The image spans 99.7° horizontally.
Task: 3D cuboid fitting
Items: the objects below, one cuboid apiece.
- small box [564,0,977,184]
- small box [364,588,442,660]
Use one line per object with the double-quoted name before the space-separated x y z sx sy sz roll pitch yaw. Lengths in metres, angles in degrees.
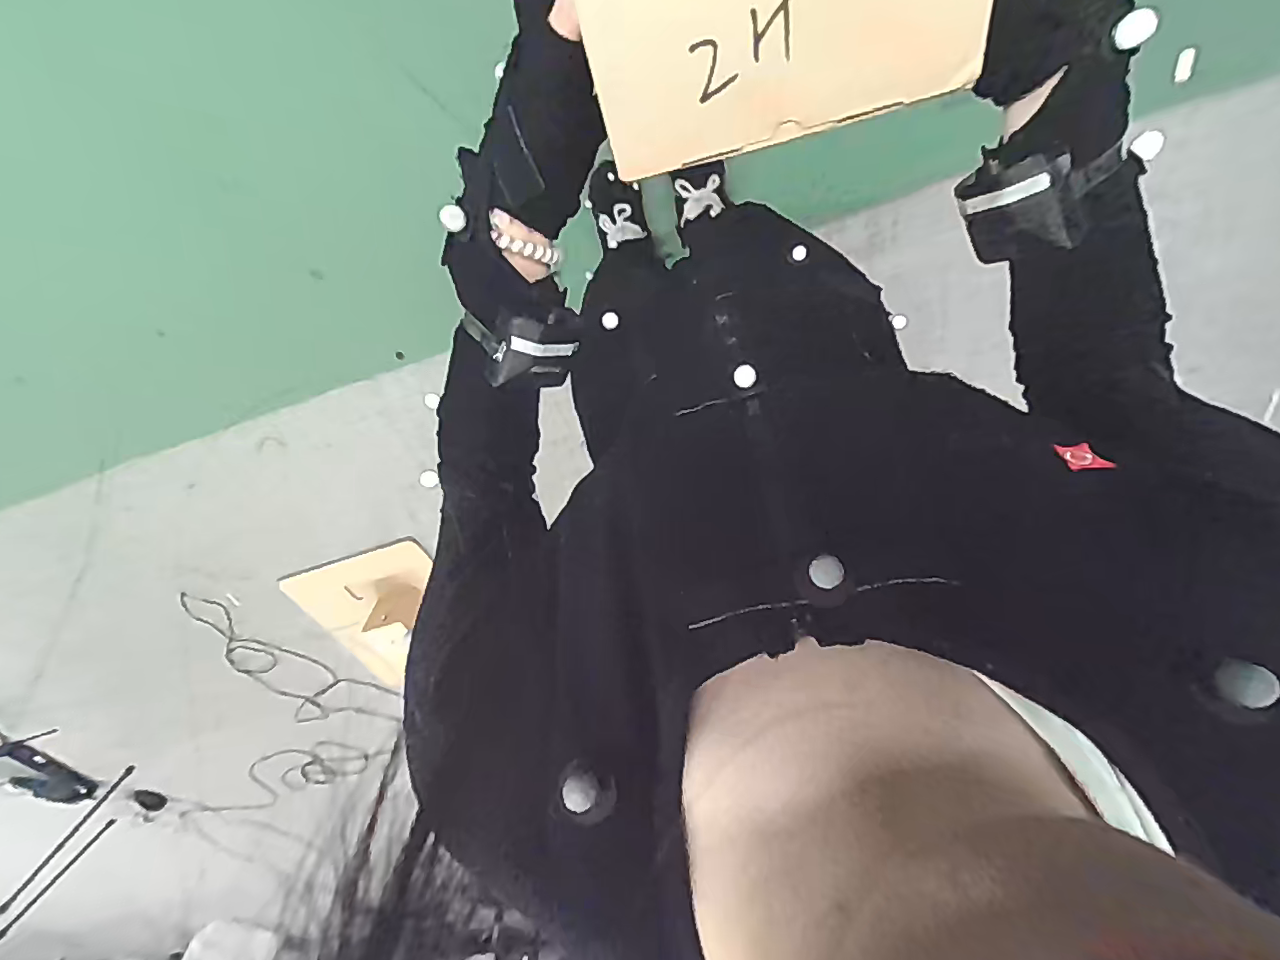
"small box" 0.044 -0.276 0.252 0.168 0.176 0.179 -10 135 12
"small box" -0.860 0.525 1.982 0.179 0.176 0.168 -19 122 13
